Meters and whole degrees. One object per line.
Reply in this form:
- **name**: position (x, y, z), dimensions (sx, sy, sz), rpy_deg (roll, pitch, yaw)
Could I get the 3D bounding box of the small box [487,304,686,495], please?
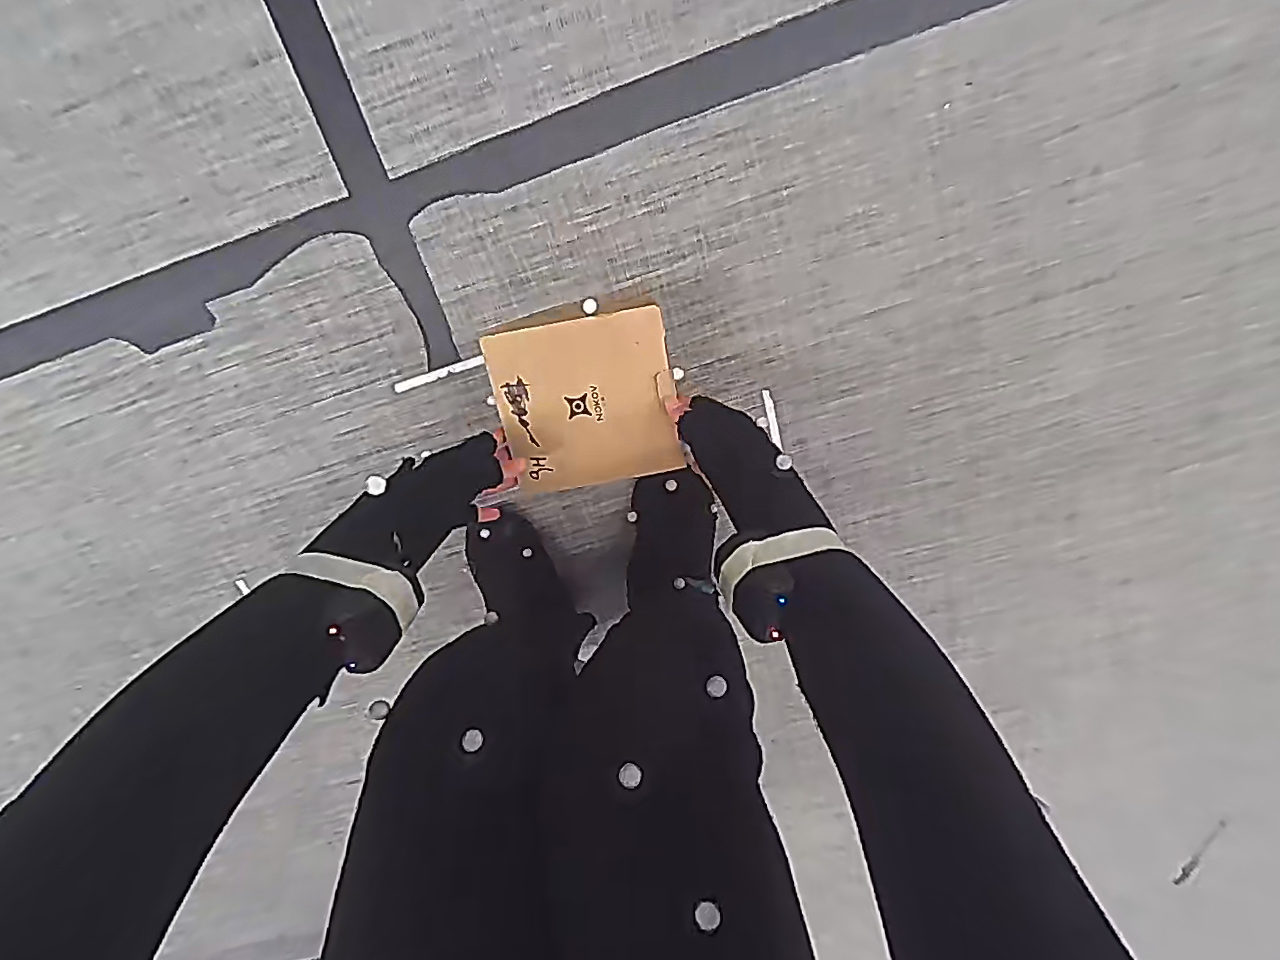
- **small box**: position (-0.052, -0.099, 0.606), dimensions (0.179, 0.176, 0.168), rpy_deg (-9, 110, 1)
